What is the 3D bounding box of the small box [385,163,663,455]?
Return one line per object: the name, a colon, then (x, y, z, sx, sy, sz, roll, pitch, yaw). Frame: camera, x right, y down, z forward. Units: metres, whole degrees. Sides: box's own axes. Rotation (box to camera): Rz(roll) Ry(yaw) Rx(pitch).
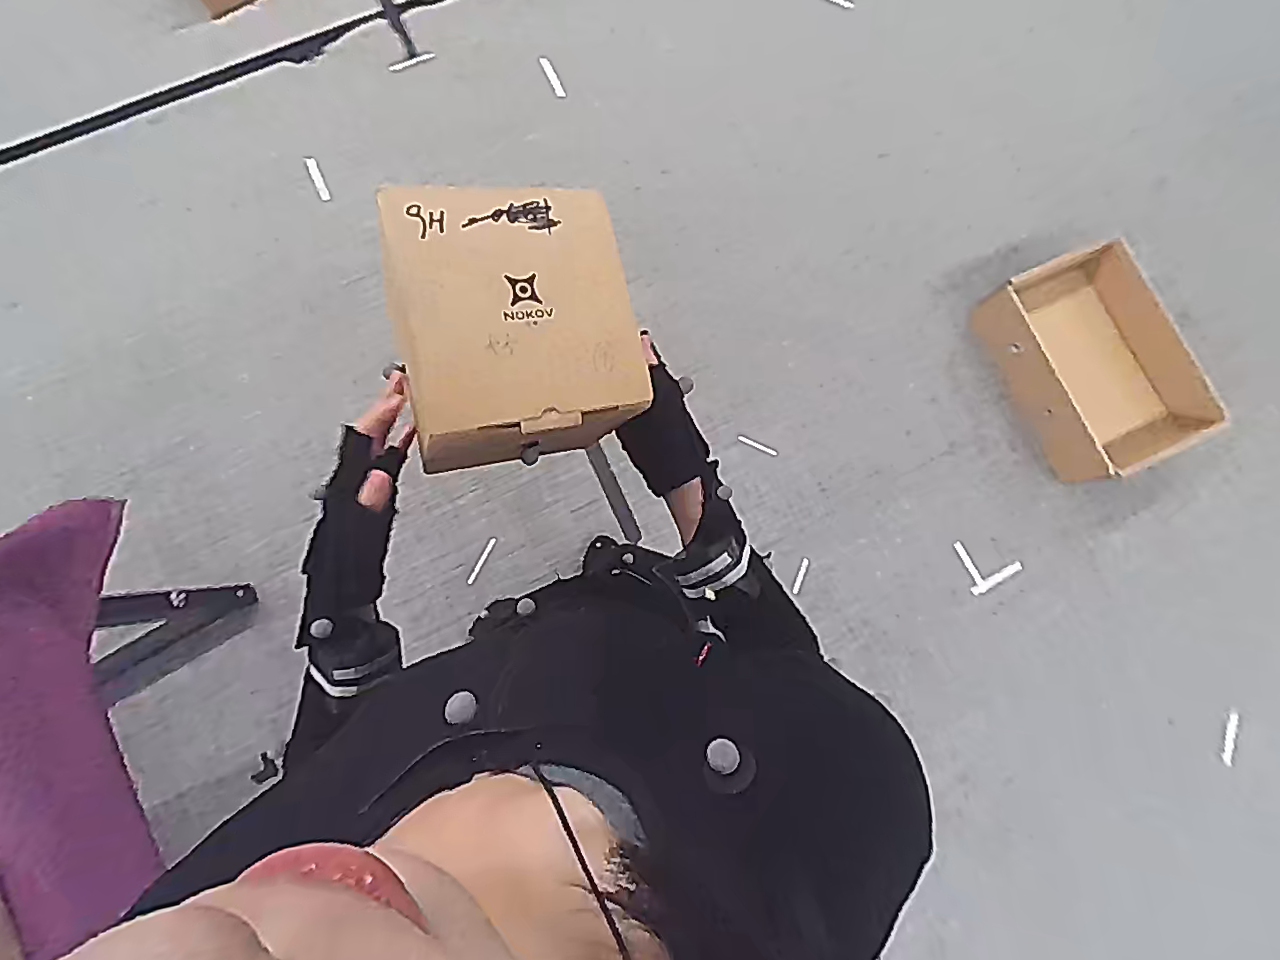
small box: (-0.102, -0.119, 0.441, 0.168, 0.176, 0.179, -11, 89, -24)
